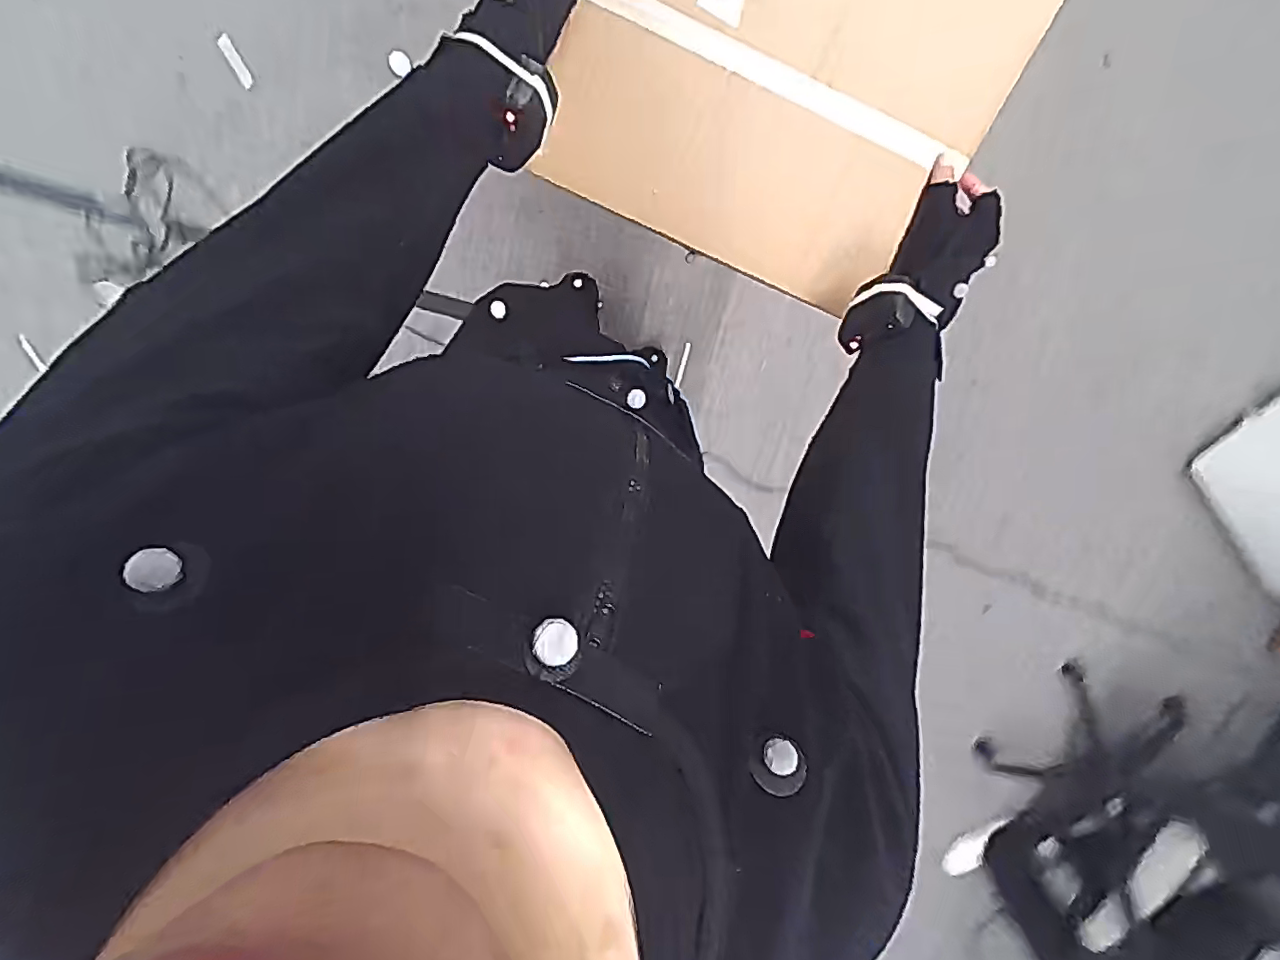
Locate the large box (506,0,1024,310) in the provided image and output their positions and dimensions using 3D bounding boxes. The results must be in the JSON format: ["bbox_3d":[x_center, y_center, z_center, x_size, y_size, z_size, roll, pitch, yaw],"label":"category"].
[{"bbox_3d":[0.116,-0.433,0.634,0.408,0.320,0.320,22,112,-4],"label":"large box"}]
